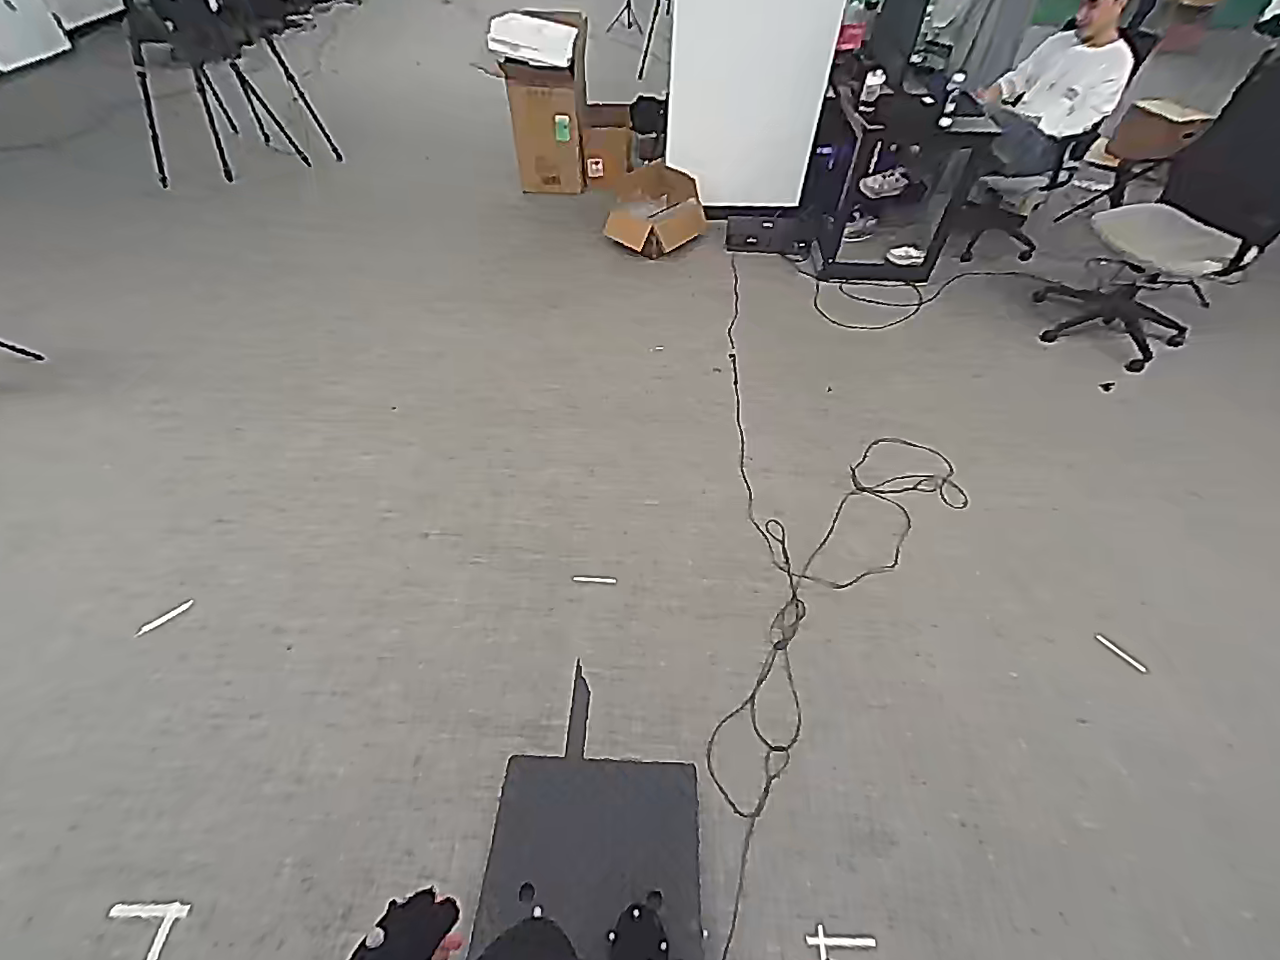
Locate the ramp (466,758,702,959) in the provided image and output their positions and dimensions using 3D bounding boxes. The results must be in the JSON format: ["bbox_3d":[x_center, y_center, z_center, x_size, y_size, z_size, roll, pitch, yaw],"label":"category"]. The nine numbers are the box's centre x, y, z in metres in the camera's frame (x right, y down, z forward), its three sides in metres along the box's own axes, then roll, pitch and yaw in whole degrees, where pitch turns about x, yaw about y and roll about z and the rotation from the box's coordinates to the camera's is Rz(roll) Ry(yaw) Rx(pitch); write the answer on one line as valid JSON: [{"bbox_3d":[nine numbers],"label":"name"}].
[{"bbox_3d":[-0.121,1.065,1.043,0.509,0.206,0.991,1,50,1],"label":"ramp"}]
